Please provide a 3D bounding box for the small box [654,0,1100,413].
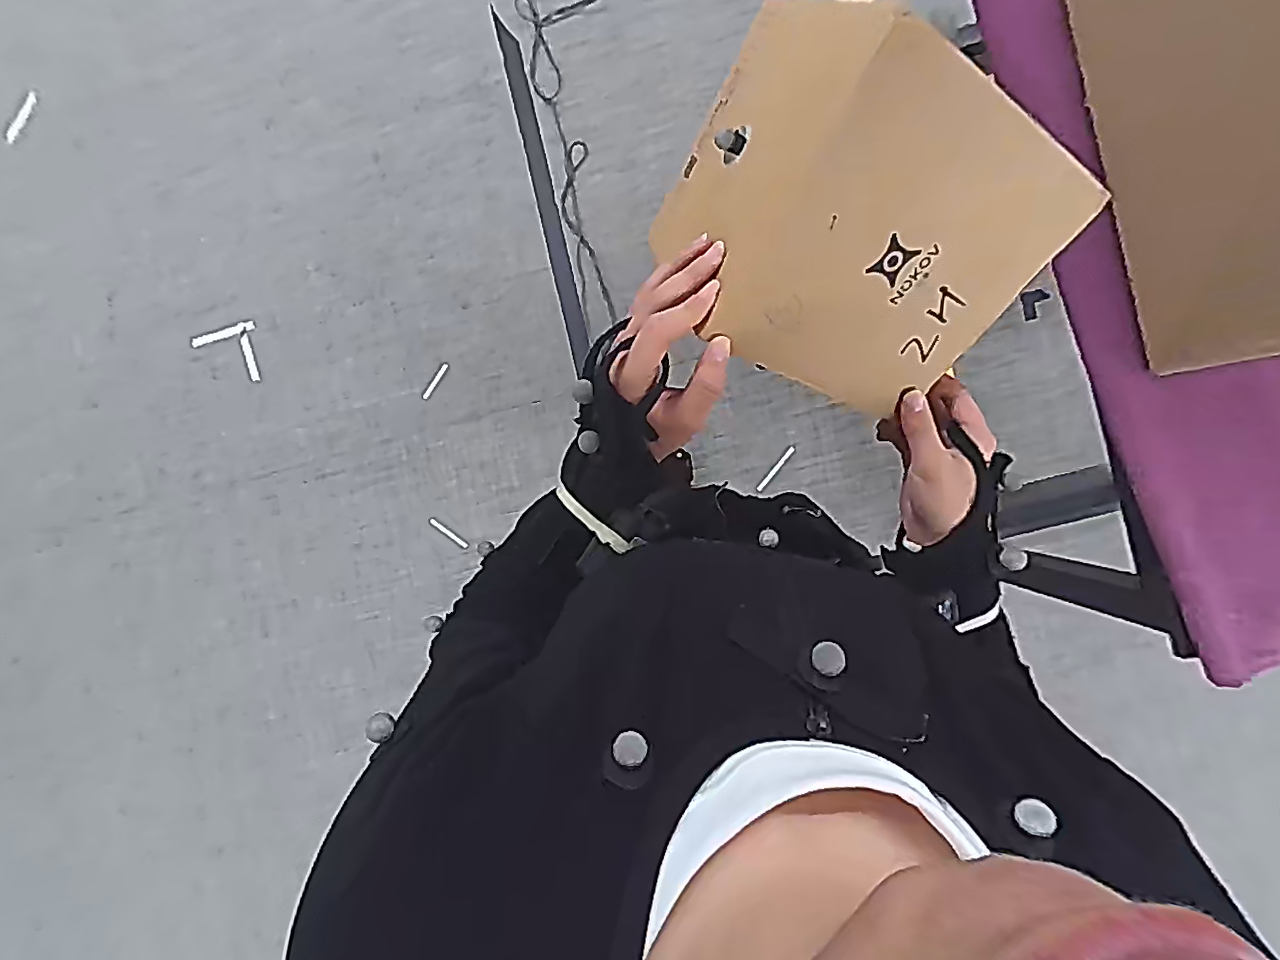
[{"bbox_3d":[0.128,-0.177,0.360,0.179,0.176,0.168,15,128,-26],"label":"small box"}]
